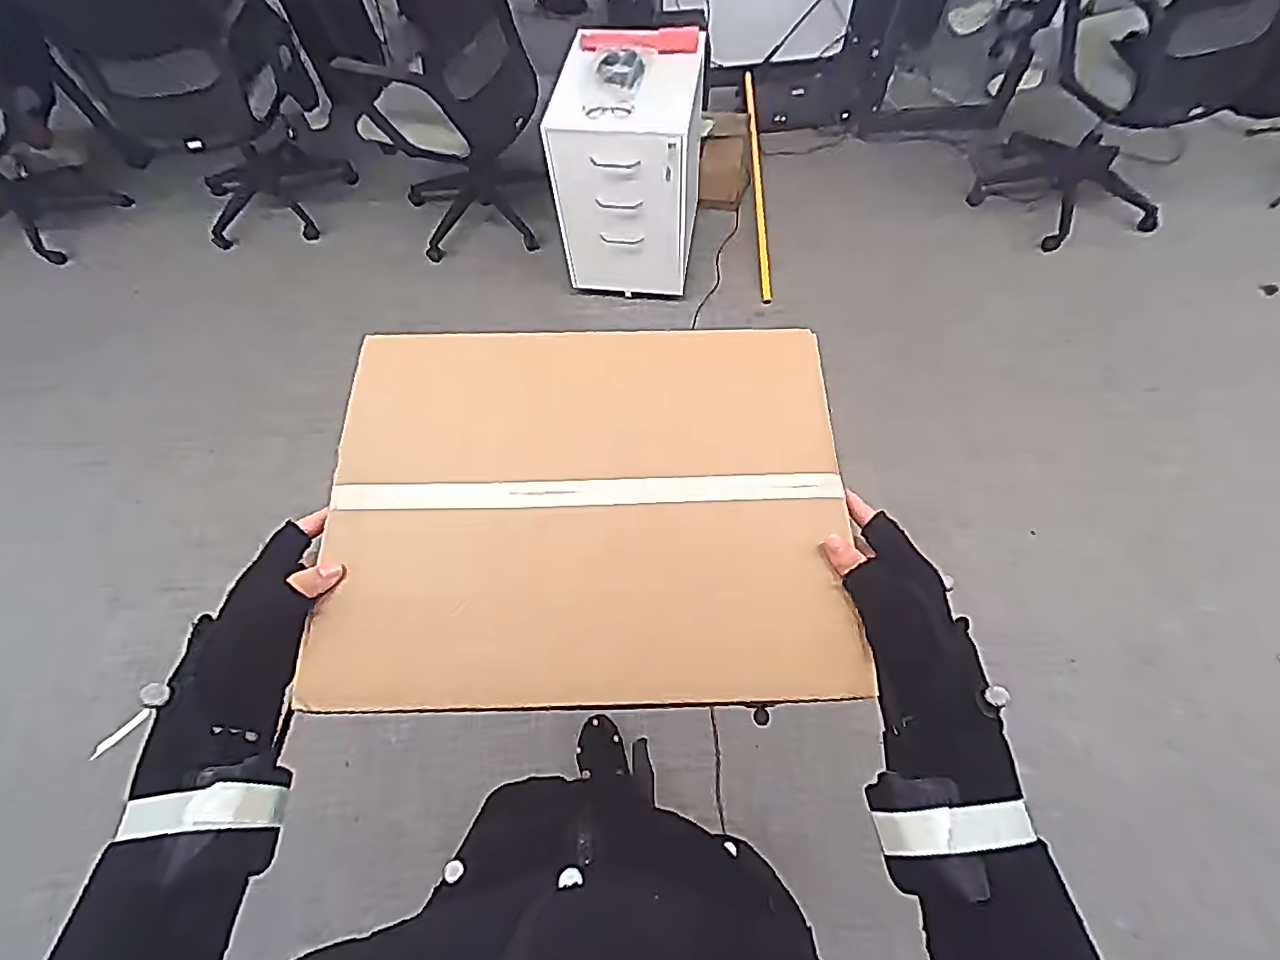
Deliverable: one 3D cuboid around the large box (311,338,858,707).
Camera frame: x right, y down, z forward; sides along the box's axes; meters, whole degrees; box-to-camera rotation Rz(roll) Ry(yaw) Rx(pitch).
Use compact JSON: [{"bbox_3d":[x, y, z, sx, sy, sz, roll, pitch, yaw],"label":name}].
[{"bbox_3d":[-0.042,0.068,0.581,0.408,0.320,0.320,0,67,-1],"label":"large box"}]
